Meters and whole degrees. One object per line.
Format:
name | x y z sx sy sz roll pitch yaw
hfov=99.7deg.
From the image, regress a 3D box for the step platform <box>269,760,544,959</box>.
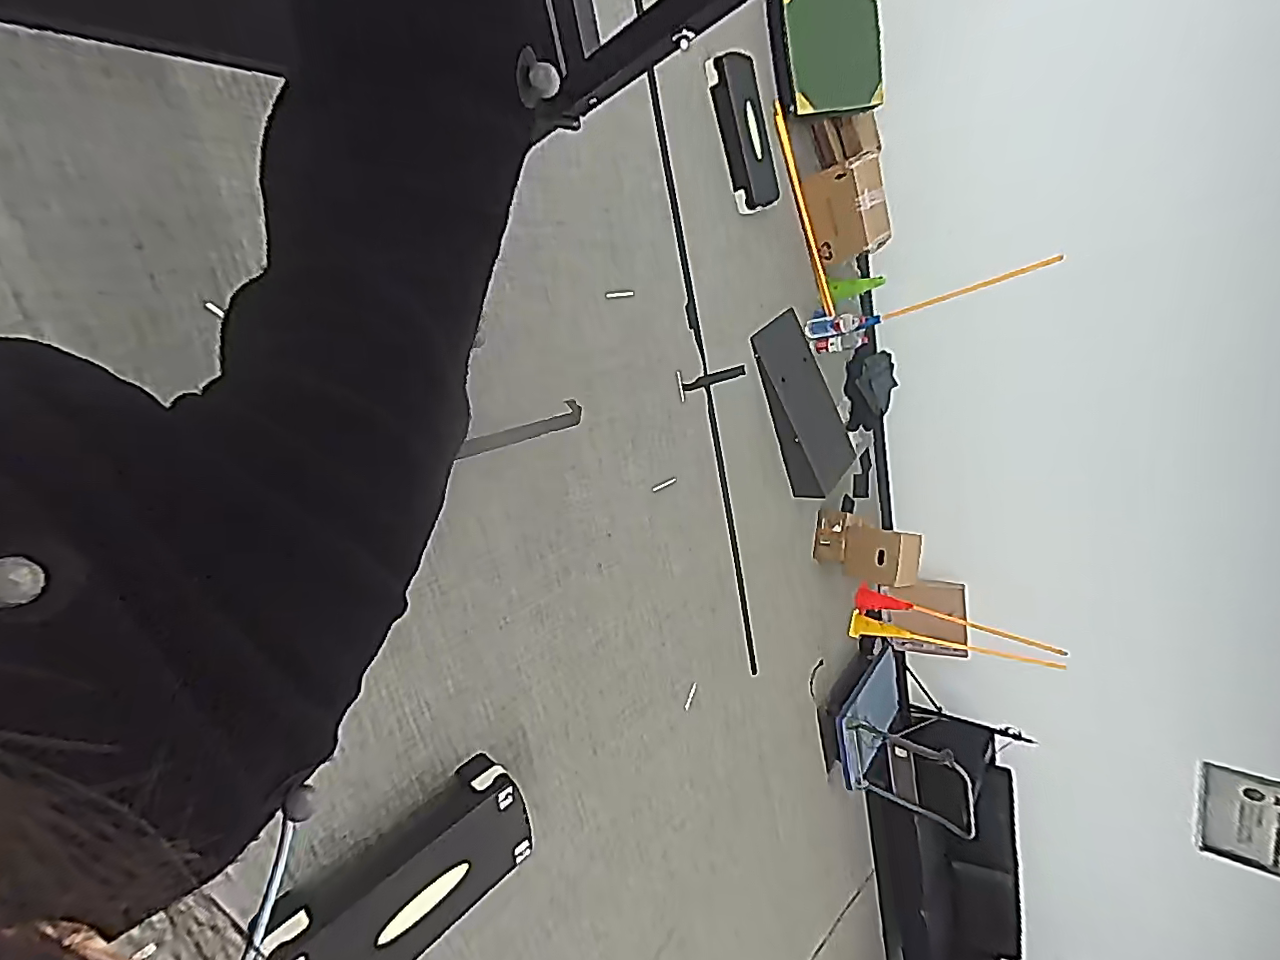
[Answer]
step platform | -0.589 1.094 1.486 0.684 0.204 0.286 -17 103 -45
